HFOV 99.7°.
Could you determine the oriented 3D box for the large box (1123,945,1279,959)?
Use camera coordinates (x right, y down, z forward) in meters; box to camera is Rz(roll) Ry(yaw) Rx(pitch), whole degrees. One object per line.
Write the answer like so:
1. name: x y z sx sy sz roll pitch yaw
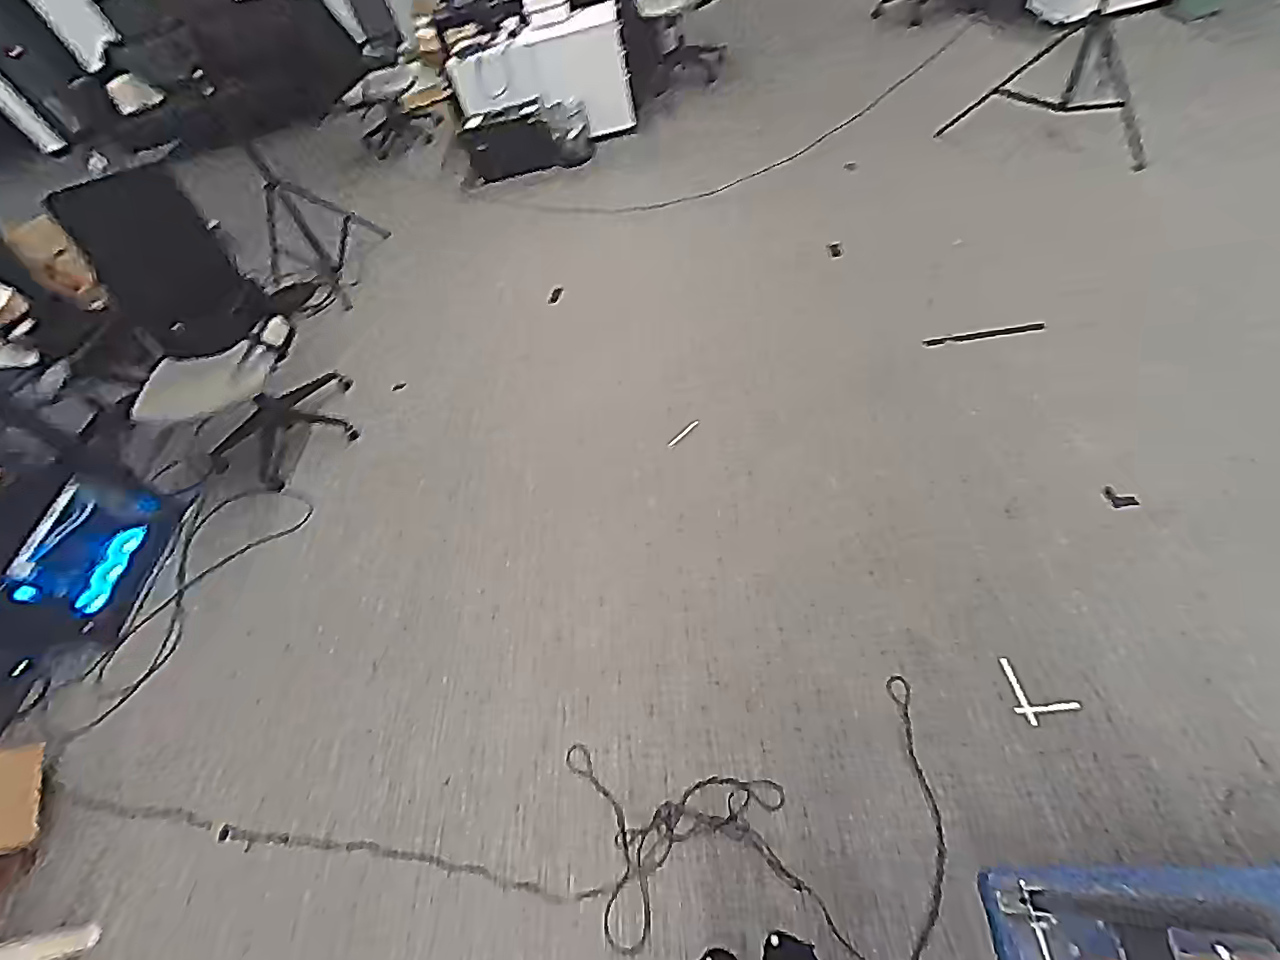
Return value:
1. large box: 0.837 0.834 0.634 0.320 0.320 0.408 -10 53 7
